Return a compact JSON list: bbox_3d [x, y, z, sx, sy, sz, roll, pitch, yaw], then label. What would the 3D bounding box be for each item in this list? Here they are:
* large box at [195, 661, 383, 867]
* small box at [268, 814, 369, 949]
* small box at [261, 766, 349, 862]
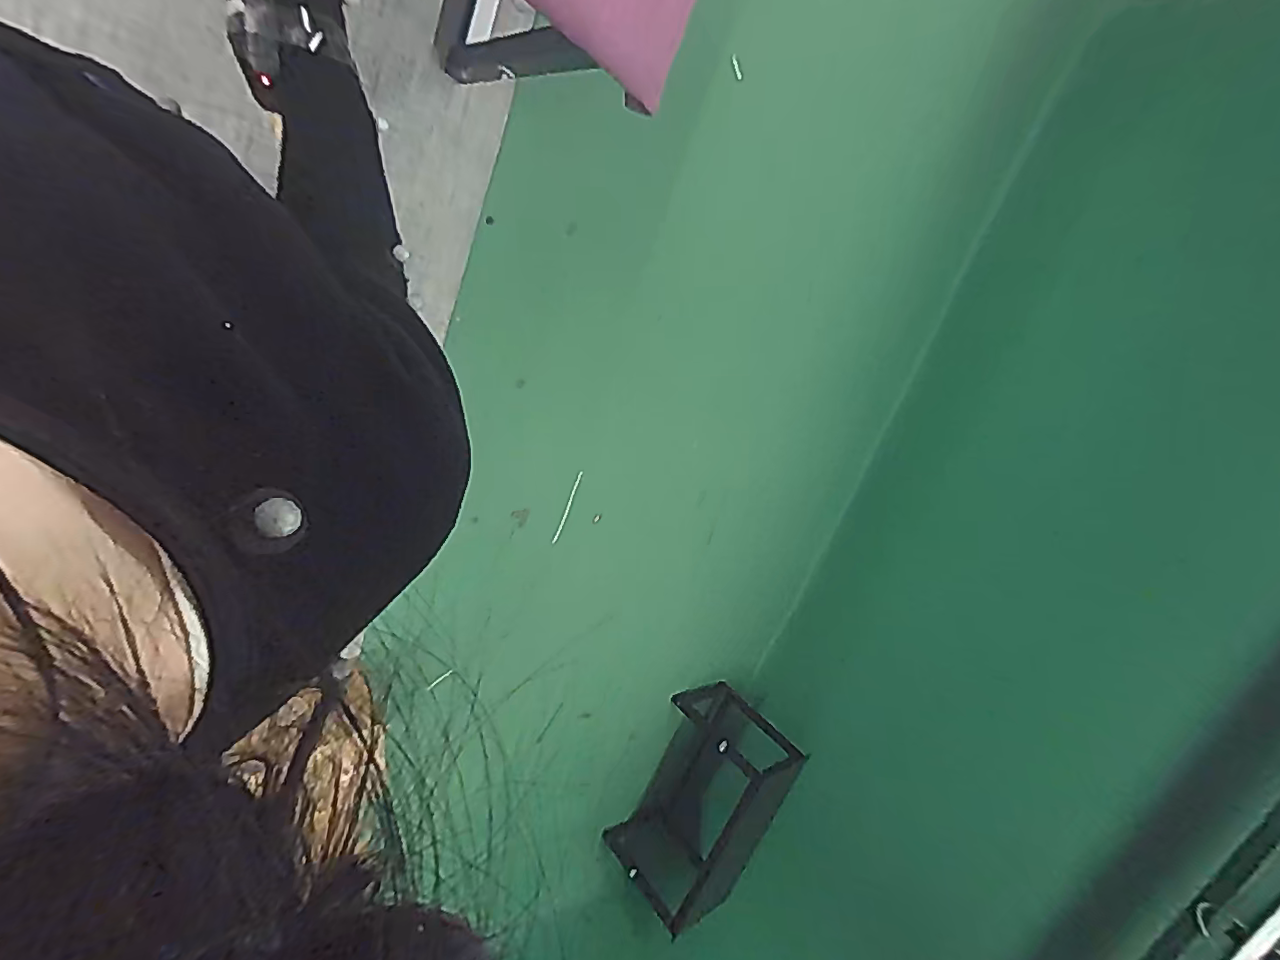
[{"bbox_3d":[-1.036,0.818,1.619,0.408,0.320,0.320,-12,124,-42],"label":"large box"},{"bbox_3d":[-0.791,0.970,1.327,0.179,0.176,0.168,-3,116,-43],"label":"small box"},{"bbox_3d":[-0.891,0.897,1.432,0.168,0.176,0.179,-4,117,-43],"label":"small box"}]
